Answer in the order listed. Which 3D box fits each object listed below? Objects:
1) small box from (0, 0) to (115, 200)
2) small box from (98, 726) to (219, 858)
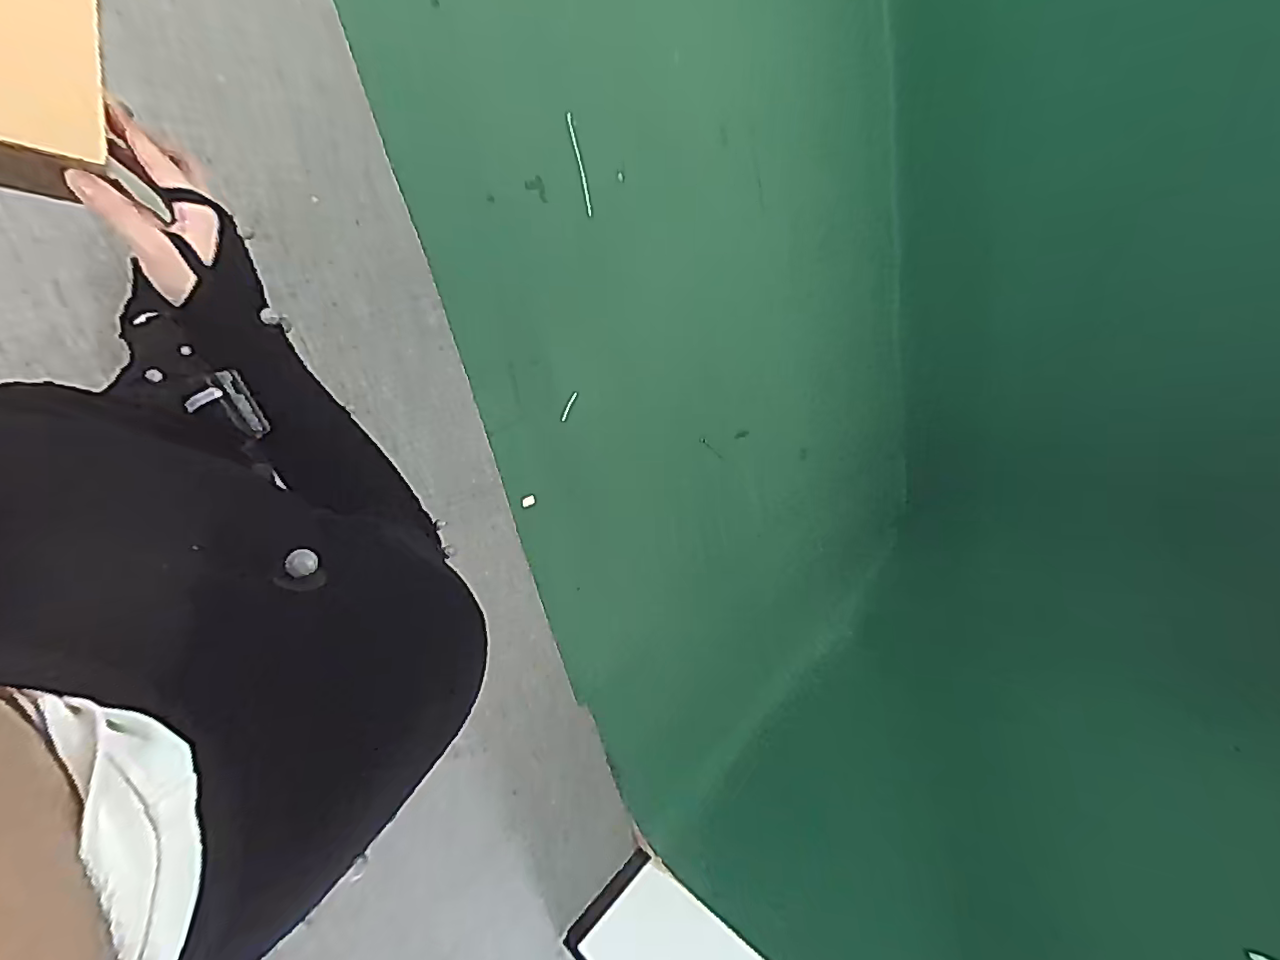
[{"bbox_3d":[-0.488,-0.312,0.373,0.179,0.176,0.168,-4,102,-42],"label":"small box"},{"bbox_3d":[-1.106,0.701,1.246,0.168,0.176,0.179,-21,110,-38],"label":"small box"}]
